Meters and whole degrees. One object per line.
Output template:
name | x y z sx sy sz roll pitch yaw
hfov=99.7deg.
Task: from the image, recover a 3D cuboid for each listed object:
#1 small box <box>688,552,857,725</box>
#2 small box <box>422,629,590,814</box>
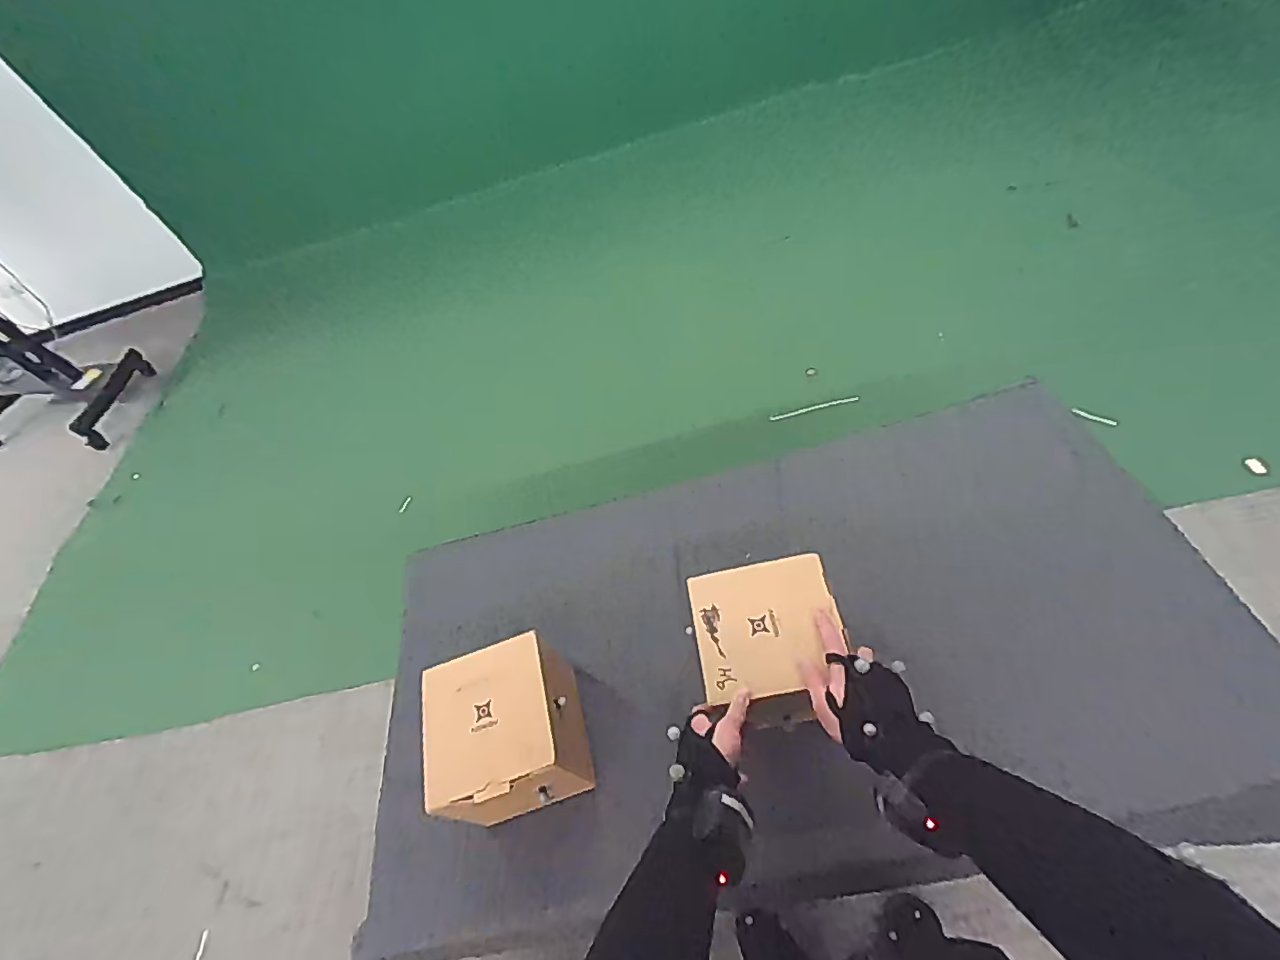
small box | 0.170 0.218 0.727 0.179 0.176 0.168 -12 54 7
small box | -0.179 0.339 0.745 0.168 0.176 0.179 -20 50 0
